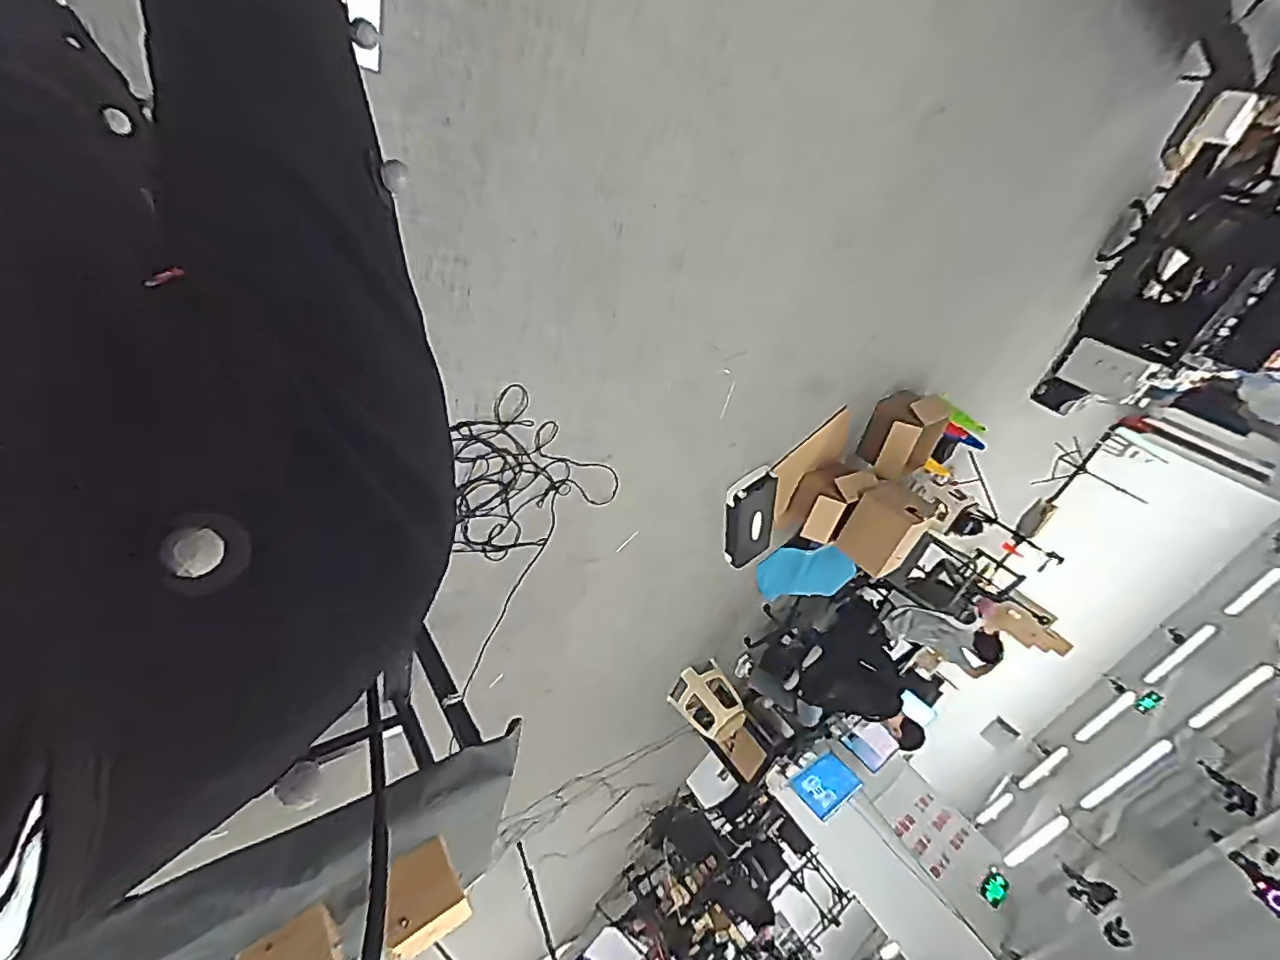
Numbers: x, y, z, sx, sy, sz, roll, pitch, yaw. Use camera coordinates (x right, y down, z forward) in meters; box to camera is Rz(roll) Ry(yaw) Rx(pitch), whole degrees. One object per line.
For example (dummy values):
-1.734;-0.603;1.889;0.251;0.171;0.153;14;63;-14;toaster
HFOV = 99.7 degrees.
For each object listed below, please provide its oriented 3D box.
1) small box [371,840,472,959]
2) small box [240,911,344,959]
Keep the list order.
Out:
-0.539;1.046;1.344;0.179;0.176;0.168;-21;137;-30;small box
-0.751;1.095;1.181;0.168;0.176;0.179;-19;137;-31;small box
